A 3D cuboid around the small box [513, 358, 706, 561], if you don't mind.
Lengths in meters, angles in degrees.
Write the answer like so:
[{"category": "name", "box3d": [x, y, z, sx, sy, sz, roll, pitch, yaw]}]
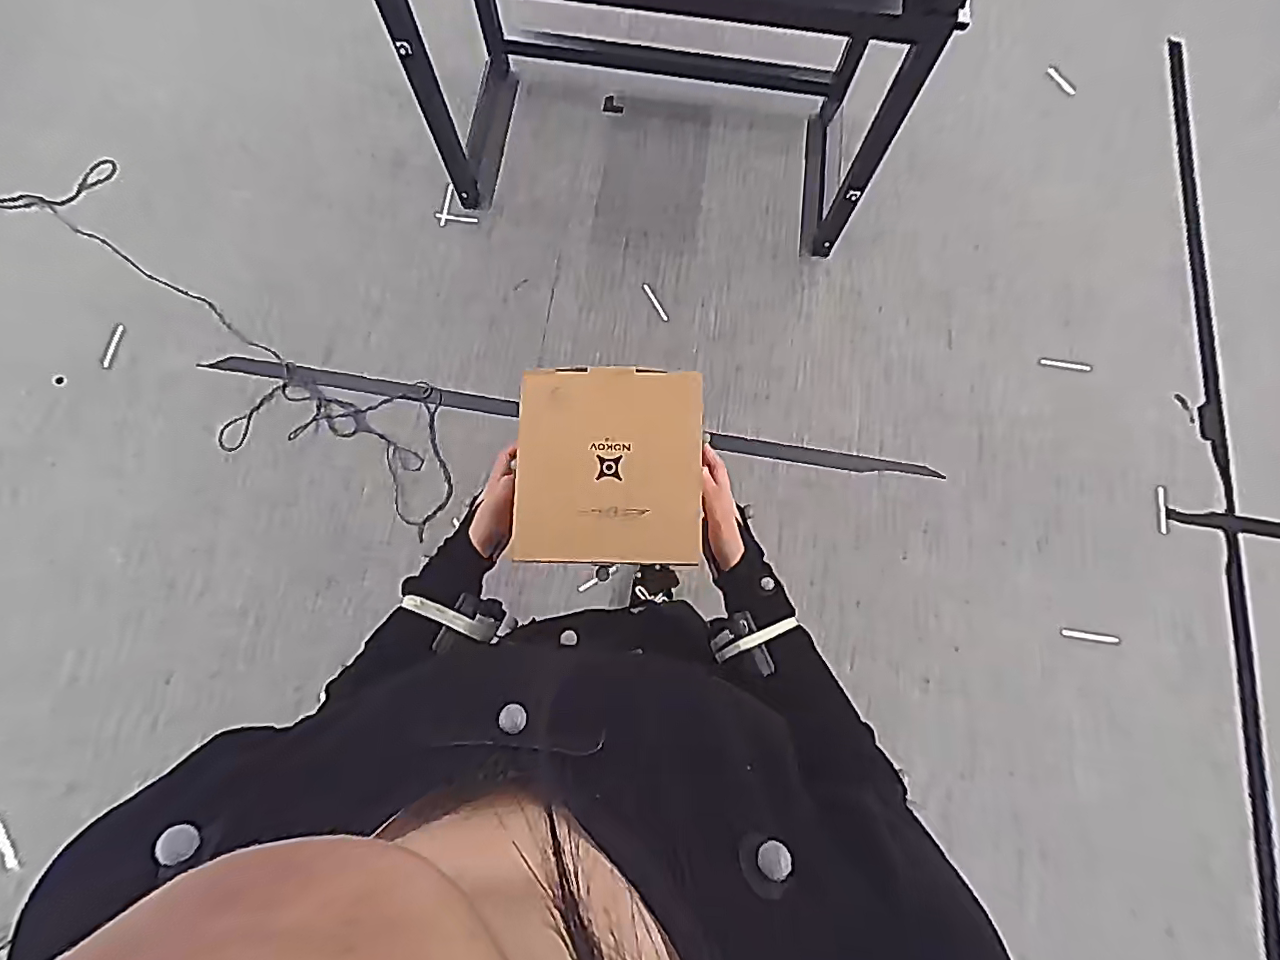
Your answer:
[{"category": "small box", "box3d": [-0.024, -0.009, 0.551, 0.168, 0.176, 0.179, 1, 81, 1]}]
